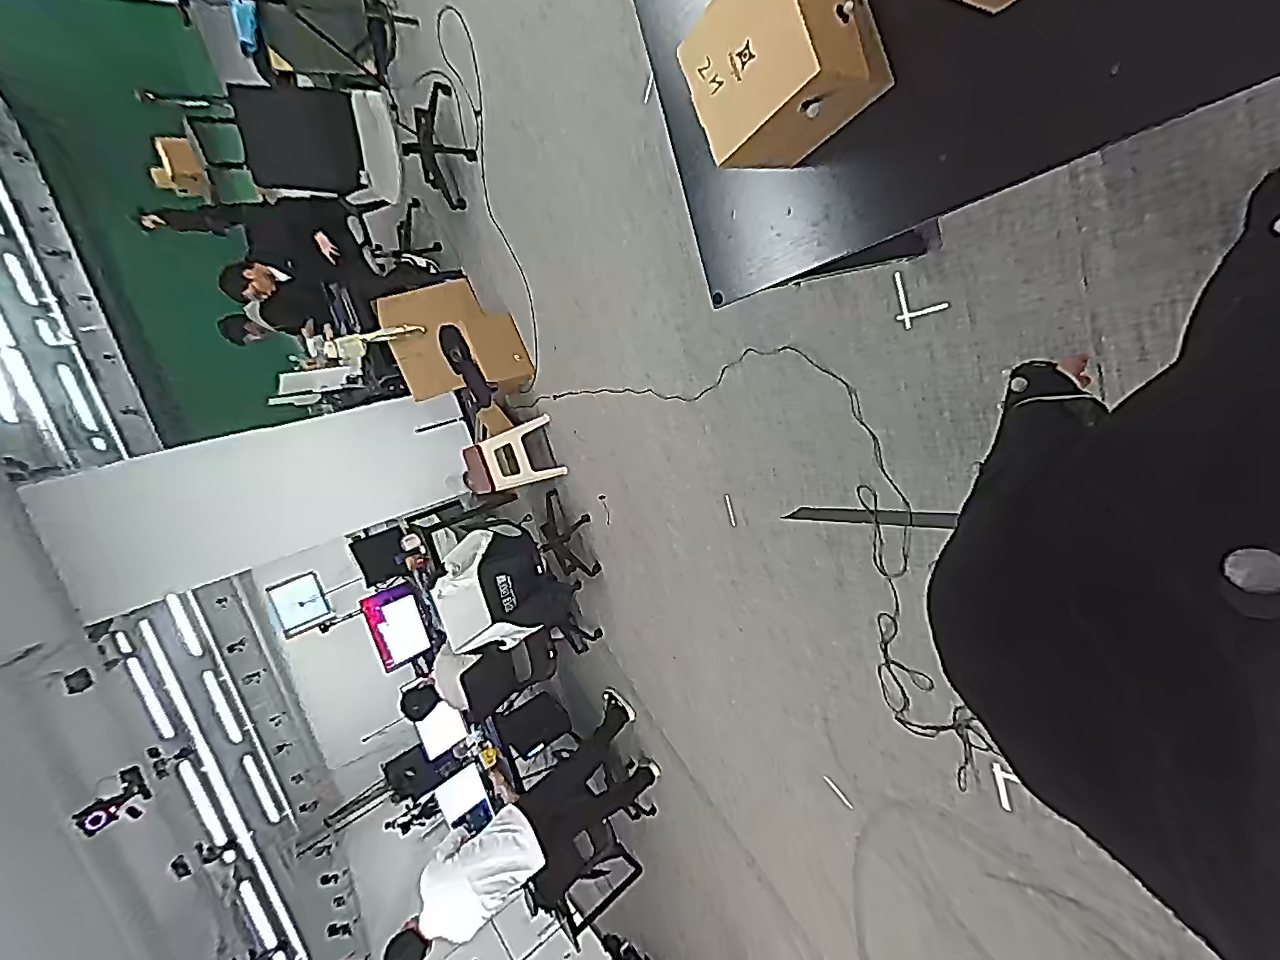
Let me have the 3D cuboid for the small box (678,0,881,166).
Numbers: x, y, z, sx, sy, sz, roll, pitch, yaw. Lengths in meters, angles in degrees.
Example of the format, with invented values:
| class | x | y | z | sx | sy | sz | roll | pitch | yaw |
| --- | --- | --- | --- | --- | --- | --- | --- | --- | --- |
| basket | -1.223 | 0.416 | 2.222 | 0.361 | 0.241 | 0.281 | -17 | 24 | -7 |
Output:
| class | x | y | z | sx | sy | sz | roll | pitch | yaw |
| --- | --- | --- | --- | --- | --- | --- | --- | --- | --- |
| small box | 0.187 | -0.544 | 0.708 | 0.179 | 0.176 | 0.168 | -16 | 96 | 57 |
